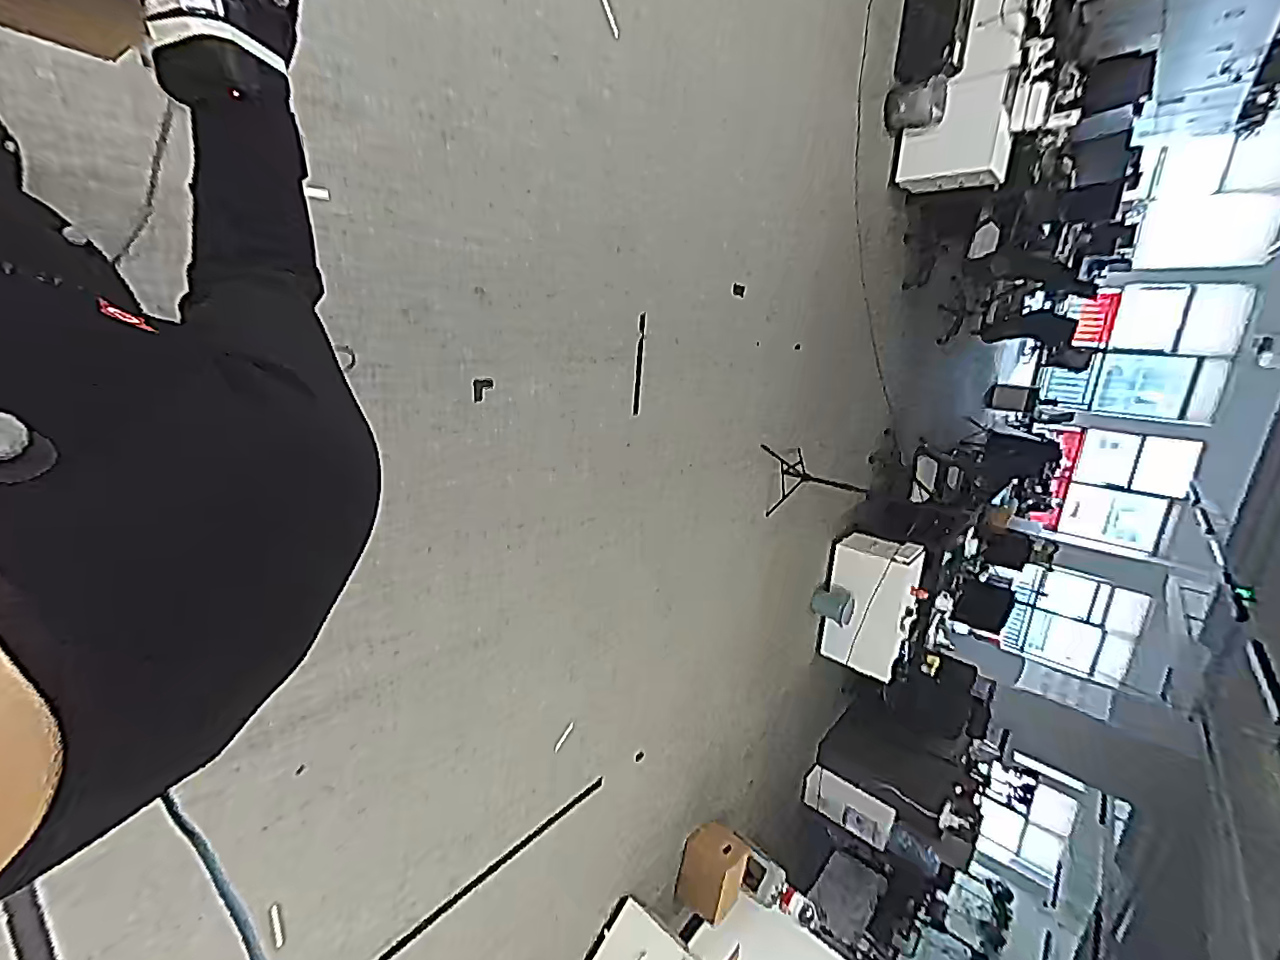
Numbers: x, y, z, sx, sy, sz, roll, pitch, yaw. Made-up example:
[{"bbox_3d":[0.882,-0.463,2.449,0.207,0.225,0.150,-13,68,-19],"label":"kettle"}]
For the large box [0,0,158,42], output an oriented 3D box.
[{"bbox_3d":[-0.528,-0.504,0.265,0.408,0.320,0.320,-14,119,-50],"label":"large box"}]
